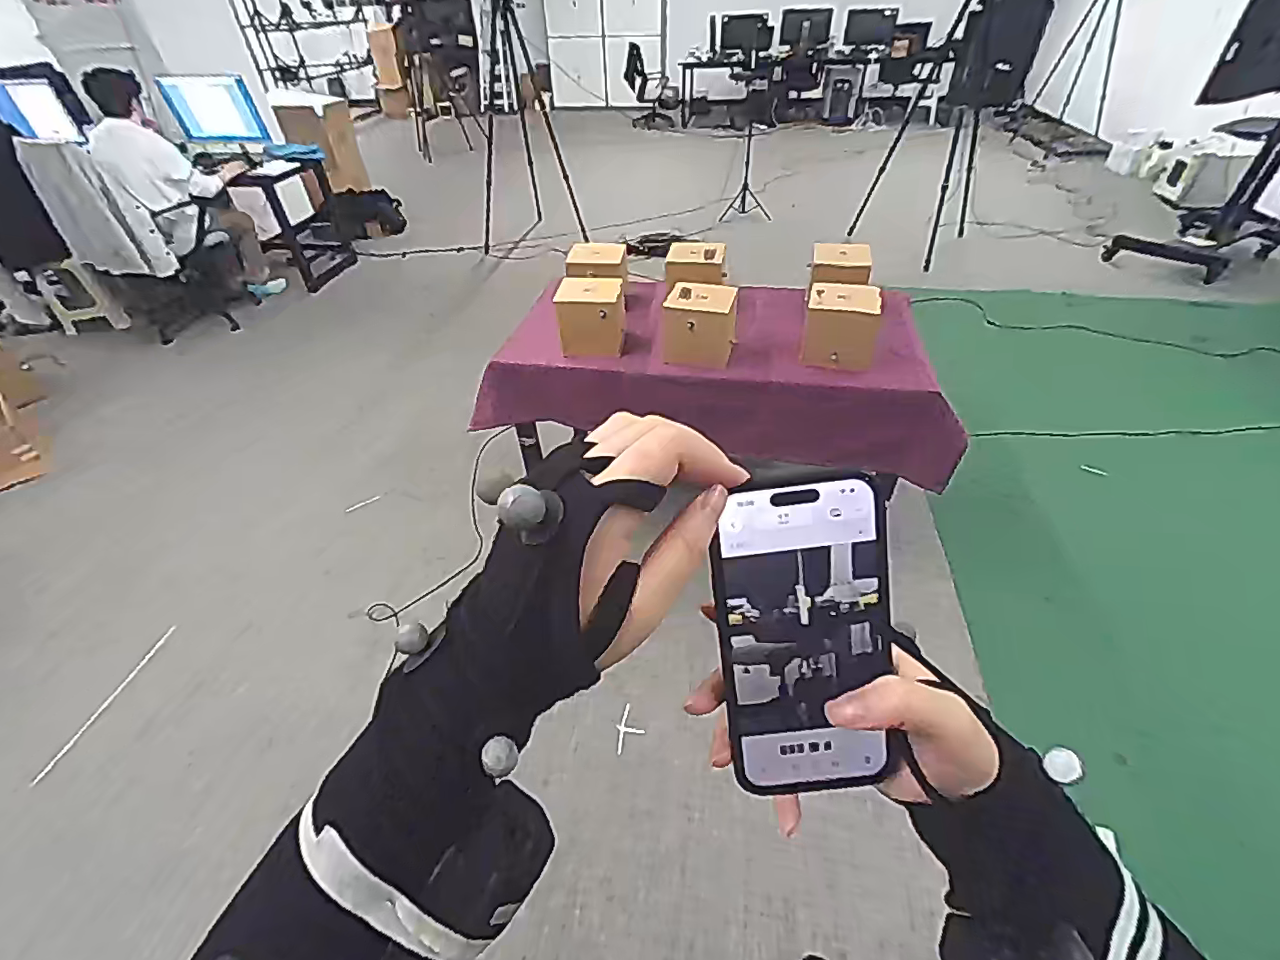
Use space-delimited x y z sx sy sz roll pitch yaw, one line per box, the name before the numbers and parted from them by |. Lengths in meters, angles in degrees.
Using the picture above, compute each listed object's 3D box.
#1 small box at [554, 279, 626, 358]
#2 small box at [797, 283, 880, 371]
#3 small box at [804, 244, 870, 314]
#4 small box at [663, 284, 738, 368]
small box | -0.139 -0.466 1.558 0.179 0.176 0.168 3 42 4
small box | 0.535 -0.412 1.463 0.179 0.176 0.168 11 43 14
small box | 0.609 -0.619 1.687 0.168 0.176 0.179 8 44 12
small box | 0.166 -0.426 1.498 0.179 0.176 0.168 10 44 13
